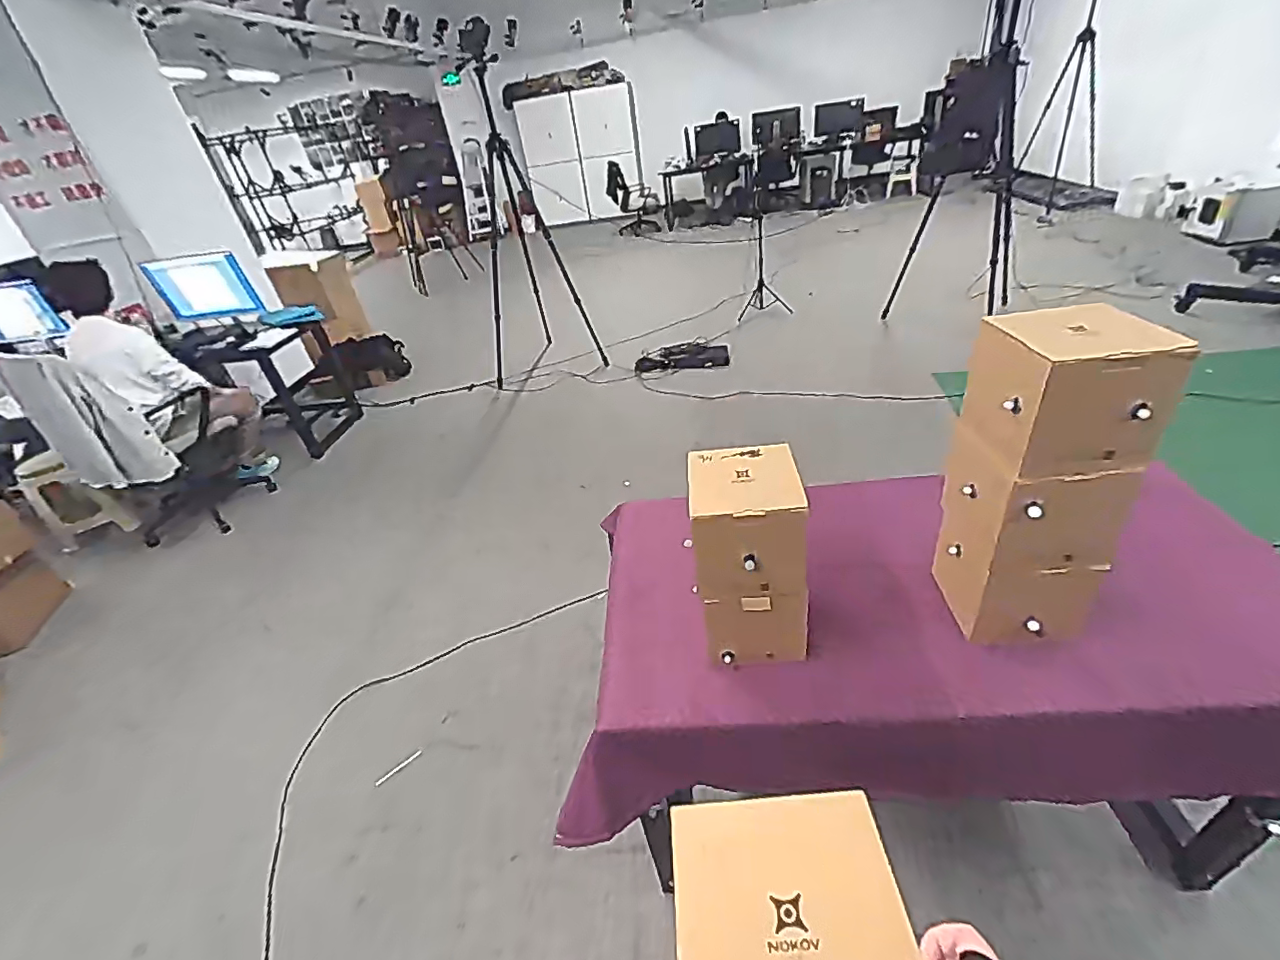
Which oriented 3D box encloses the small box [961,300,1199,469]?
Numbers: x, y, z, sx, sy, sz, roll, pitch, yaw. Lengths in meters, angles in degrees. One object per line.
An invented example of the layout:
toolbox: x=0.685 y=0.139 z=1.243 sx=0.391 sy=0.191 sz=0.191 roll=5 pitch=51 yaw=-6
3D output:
small box: x=0.567 y=-0.125 z=0.731 sx=0.168 sy=0.176 sz=0.179 roll=-6 pitch=33 yaw=6

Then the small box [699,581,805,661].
small box: x=0.189 y=0.199 z=0.946 sx=0.168 sy=0.176 sz=0.179 roll=-6 pitch=33 yaw=6

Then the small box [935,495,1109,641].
small box: x=0.618 y=0.147 z=0.907 sx=0.168 sy=0.176 sz=0.179 roll=-5 pitch=35 yaw=9

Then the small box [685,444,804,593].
small box: x=0.162 y=0.065 z=0.855 sx=0.168 sy=0.176 sz=0.179 roll=-5 pitch=35 yaw=7

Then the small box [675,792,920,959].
small box: x=0.120 y=0.385 z=0.435 sx=0.168 sy=0.176 sz=0.179 roll=-7 pitch=34 yaw=5
